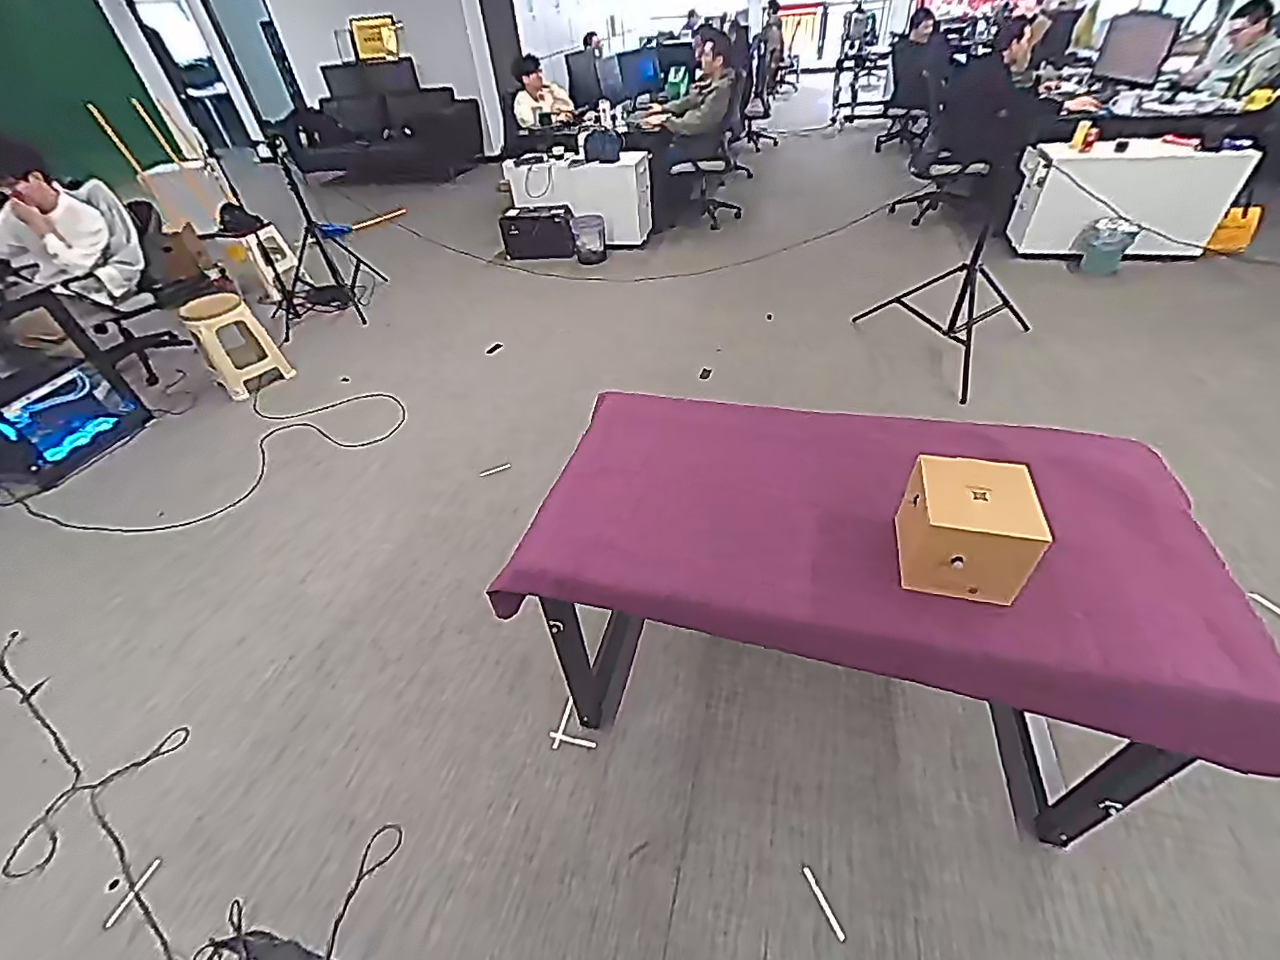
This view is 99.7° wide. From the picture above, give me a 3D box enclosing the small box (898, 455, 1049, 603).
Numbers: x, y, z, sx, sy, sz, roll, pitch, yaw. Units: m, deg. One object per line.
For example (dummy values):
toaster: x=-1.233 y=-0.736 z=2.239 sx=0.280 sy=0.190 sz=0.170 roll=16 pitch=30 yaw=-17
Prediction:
small box: x=0.547 y=0.082 z=0.914 sx=0.168 sy=0.176 sz=0.179 roll=8 pitch=43 yaw=15
